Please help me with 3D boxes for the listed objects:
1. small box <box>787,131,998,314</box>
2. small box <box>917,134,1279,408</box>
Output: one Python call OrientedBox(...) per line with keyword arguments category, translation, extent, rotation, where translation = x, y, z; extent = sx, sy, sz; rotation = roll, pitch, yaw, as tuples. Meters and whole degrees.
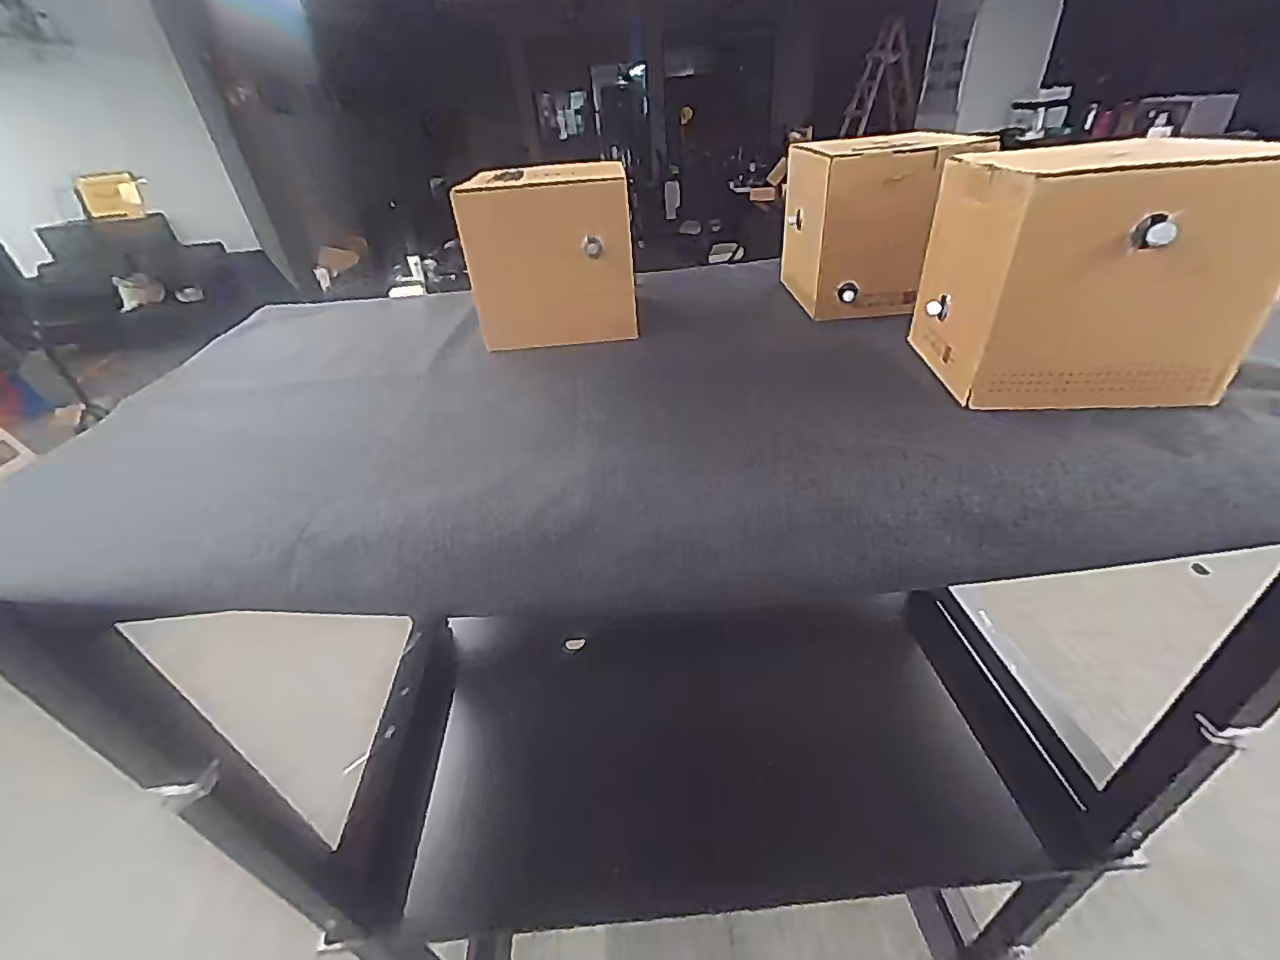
OrientedBox(category="small box", translation=(0.276, -0.302, 0.640), extent=(0.168, 0.176, 0.179), rotation=(-4, 34, 2))
OrientedBox(category="small box", translation=(0.349, -0.166, 0.432), extent=(0.179, 0.176, 0.168), rotation=(-1, 33, 9))
